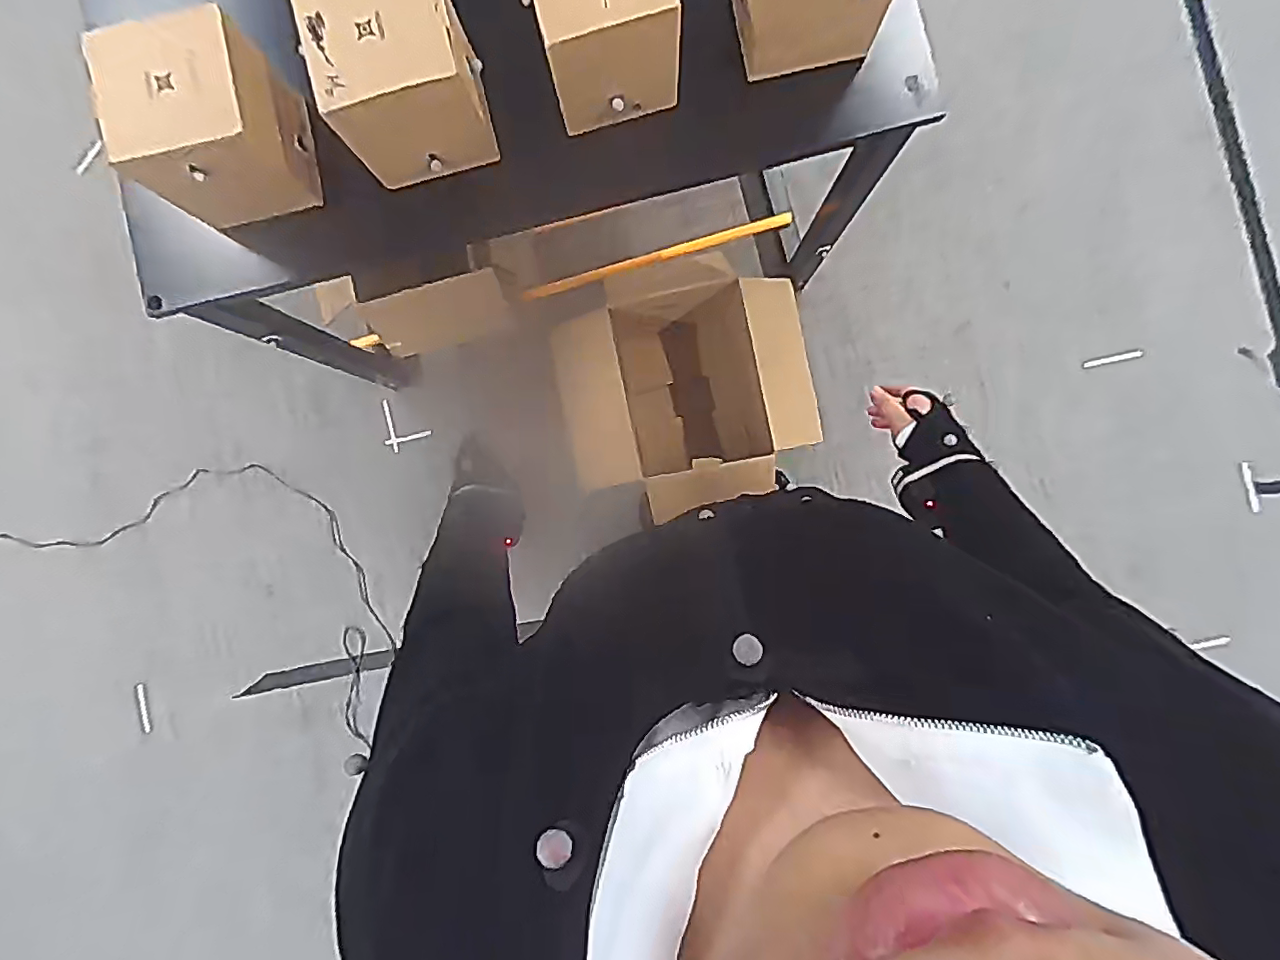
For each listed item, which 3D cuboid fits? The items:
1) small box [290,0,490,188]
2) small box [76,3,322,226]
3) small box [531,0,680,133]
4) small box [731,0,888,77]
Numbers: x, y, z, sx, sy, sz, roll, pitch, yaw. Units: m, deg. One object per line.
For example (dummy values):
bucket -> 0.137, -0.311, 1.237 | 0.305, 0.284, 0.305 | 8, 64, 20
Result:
small box -> -0.311, -0.523, 0.711 | 0.179, 0.176, 0.168 | -15, 88, 1
small box -> -0.568, -0.465, 0.719 | 0.179, 0.176, 0.168 | -13, 90, 1
small box -> -0.051, -0.604, 0.704 | 0.168, 0.176, 0.179 | -15, 89, 2
small box -> 0.220, -0.670, 0.694 | 0.179, 0.176, 0.168 | -11, 87, 2
